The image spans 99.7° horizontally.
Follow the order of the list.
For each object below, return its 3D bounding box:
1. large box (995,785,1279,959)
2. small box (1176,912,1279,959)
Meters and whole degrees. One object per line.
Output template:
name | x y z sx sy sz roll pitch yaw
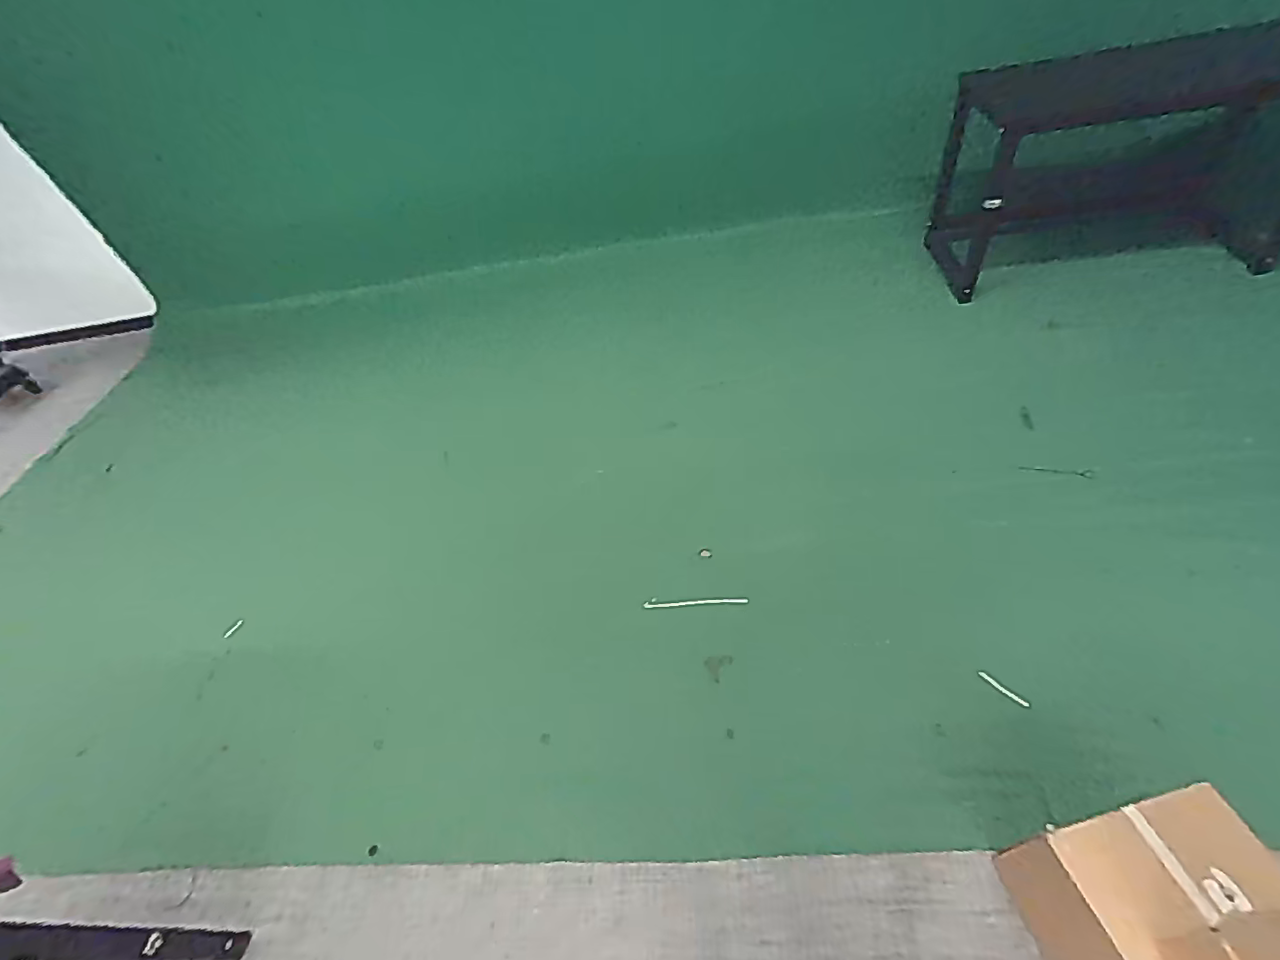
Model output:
large box | 0.913 0.813 0.912 0.320 0.320 0.408 -16 46 -3
small box | 0.869 0.684 0.704 0.179 0.176 0.168 -16 47 -1
